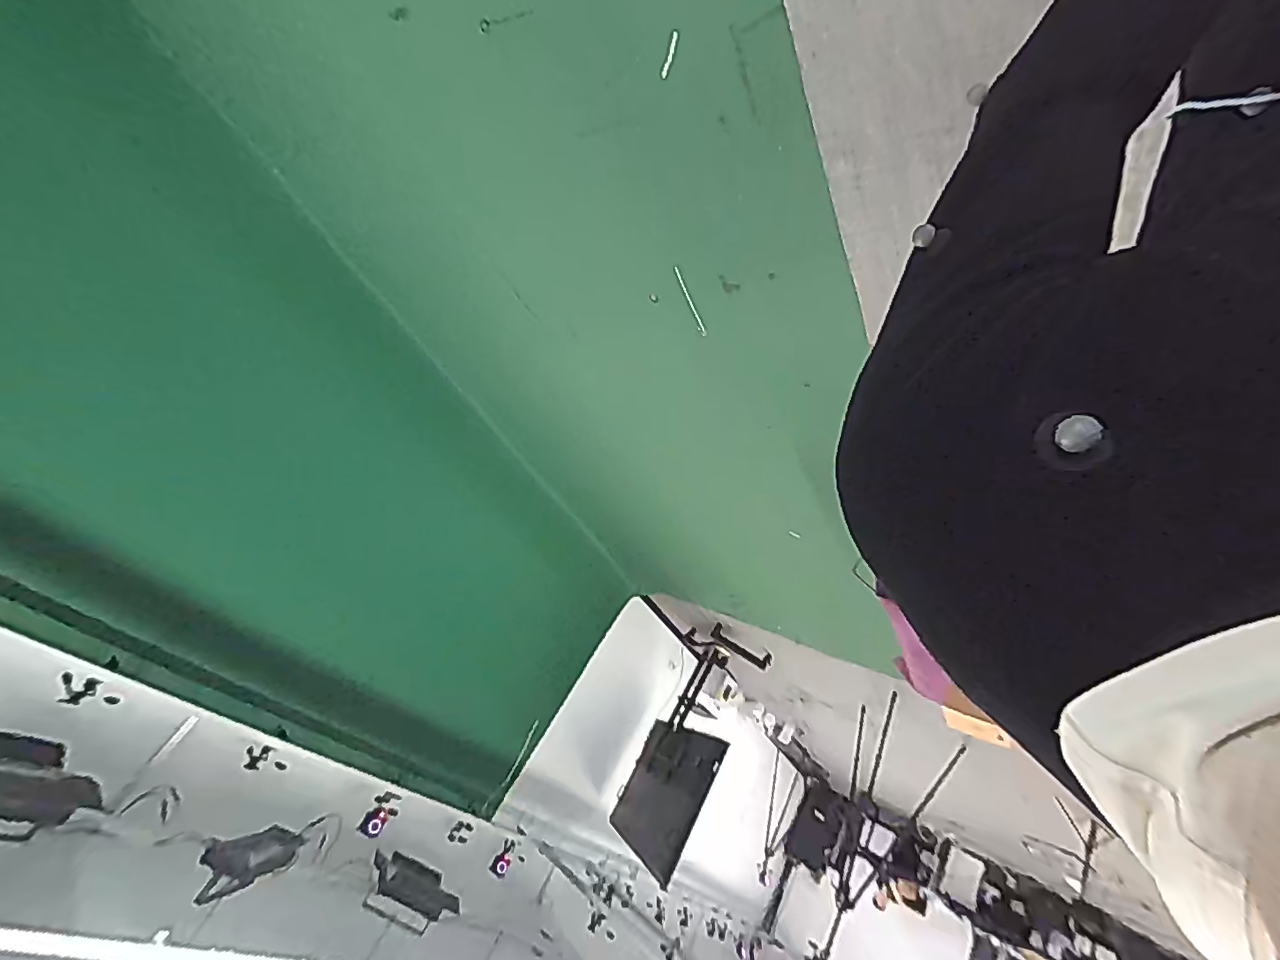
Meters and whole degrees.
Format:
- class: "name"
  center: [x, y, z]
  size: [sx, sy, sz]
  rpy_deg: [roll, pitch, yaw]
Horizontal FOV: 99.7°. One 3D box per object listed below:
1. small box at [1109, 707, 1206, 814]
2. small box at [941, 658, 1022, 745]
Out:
- class: "small box"
  center: [1.338, 0.719, 1.401]
  size: [0.168, 0.176, 0.179]
  rpy_deg: [8, 146, 44]
- class: "small box"
  center: [1.055, 0.675, 1.667]
  size: [0.179, 0.176, 0.168]
  rpy_deg: [9, 146, 42]
